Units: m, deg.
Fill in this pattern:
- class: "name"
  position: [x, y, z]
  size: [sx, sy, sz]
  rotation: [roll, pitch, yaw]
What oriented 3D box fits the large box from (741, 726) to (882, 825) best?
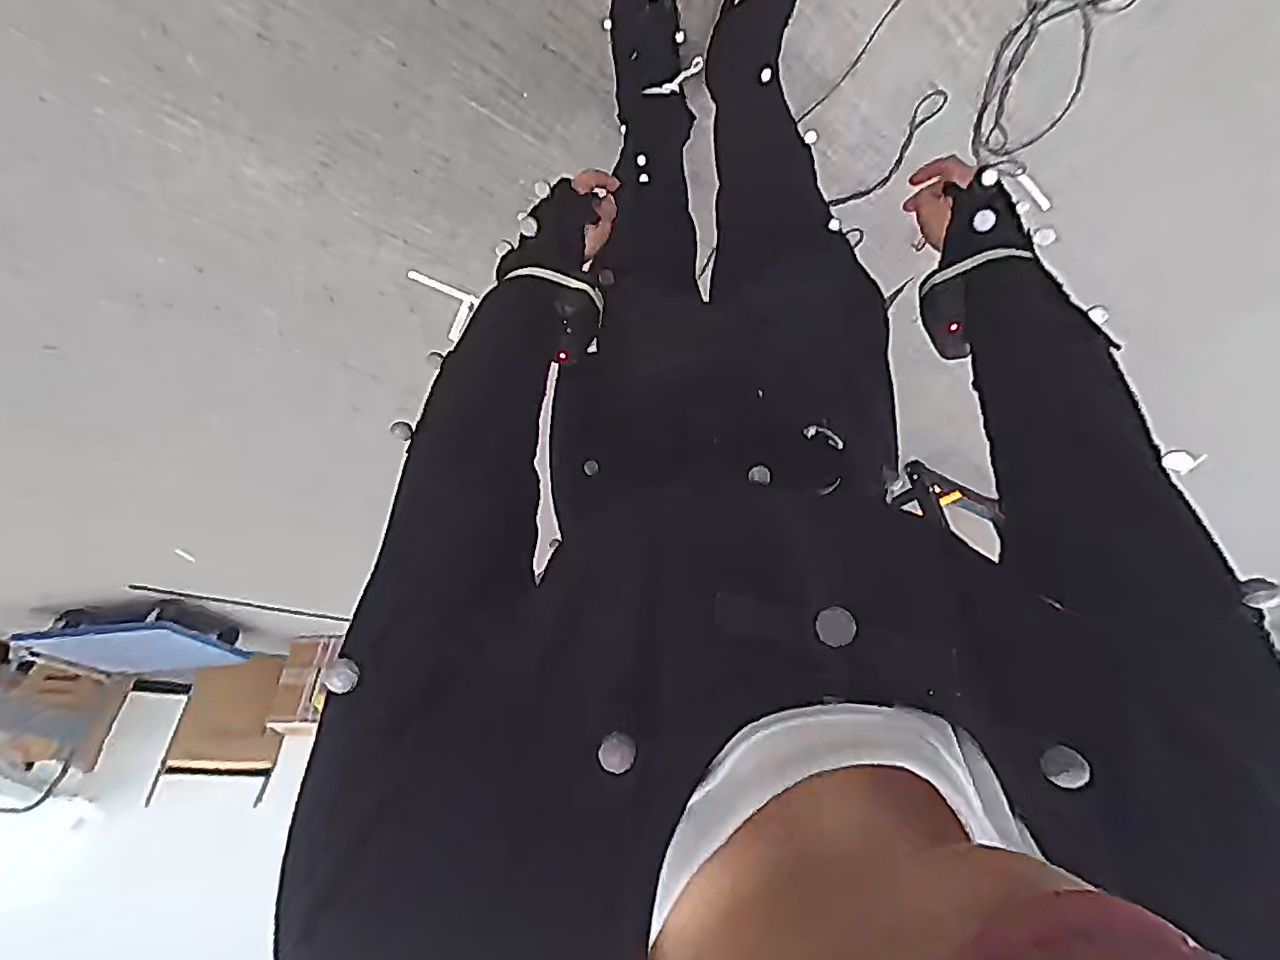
- class: "large box"
  position: [0.669, 1.179, 2.157]
  size: [0.408, 0.320, 0.320]
  rotation: [18, 142, -29]
